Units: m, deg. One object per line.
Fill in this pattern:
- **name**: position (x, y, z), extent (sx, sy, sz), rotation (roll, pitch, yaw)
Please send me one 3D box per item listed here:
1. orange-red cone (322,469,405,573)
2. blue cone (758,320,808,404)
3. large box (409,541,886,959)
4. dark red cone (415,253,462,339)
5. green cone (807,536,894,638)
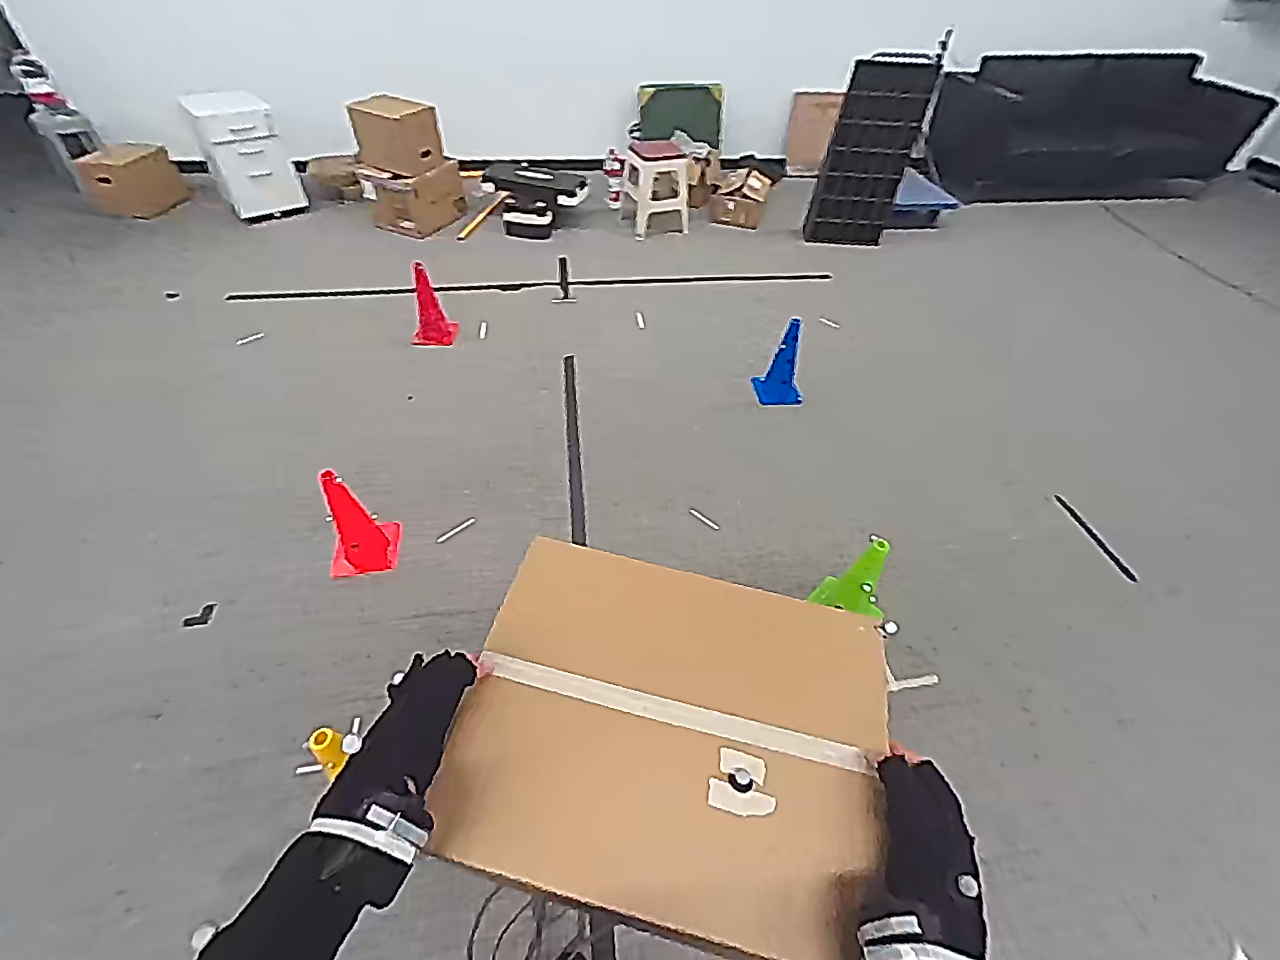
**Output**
- **orange-red cone**: position (-0.882, 0.102, 1.657), extent (0.198, 0.360, 0.199), rotation (-6, 49, -8)
- **blue cone**: position (0.649, -0.519, 2.344), extent (0.192, 0.380, 0.193), rotation (-1, 47, -5)
- **large box**: position (0.017, 0.318, 0.640), extent (0.408, 0.320, 0.320), rotation (13, 50, 5)
- **dark red cone**: position (-0.975, -0.859, 2.529), extent (0.201, 0.394, 0.202), rotation (1, 47, -3)
- **green cone**: position (0.640, 0.291, 1.553), extent (0.202, 0.368, 0.200), rotation (-34, 57, -32)
